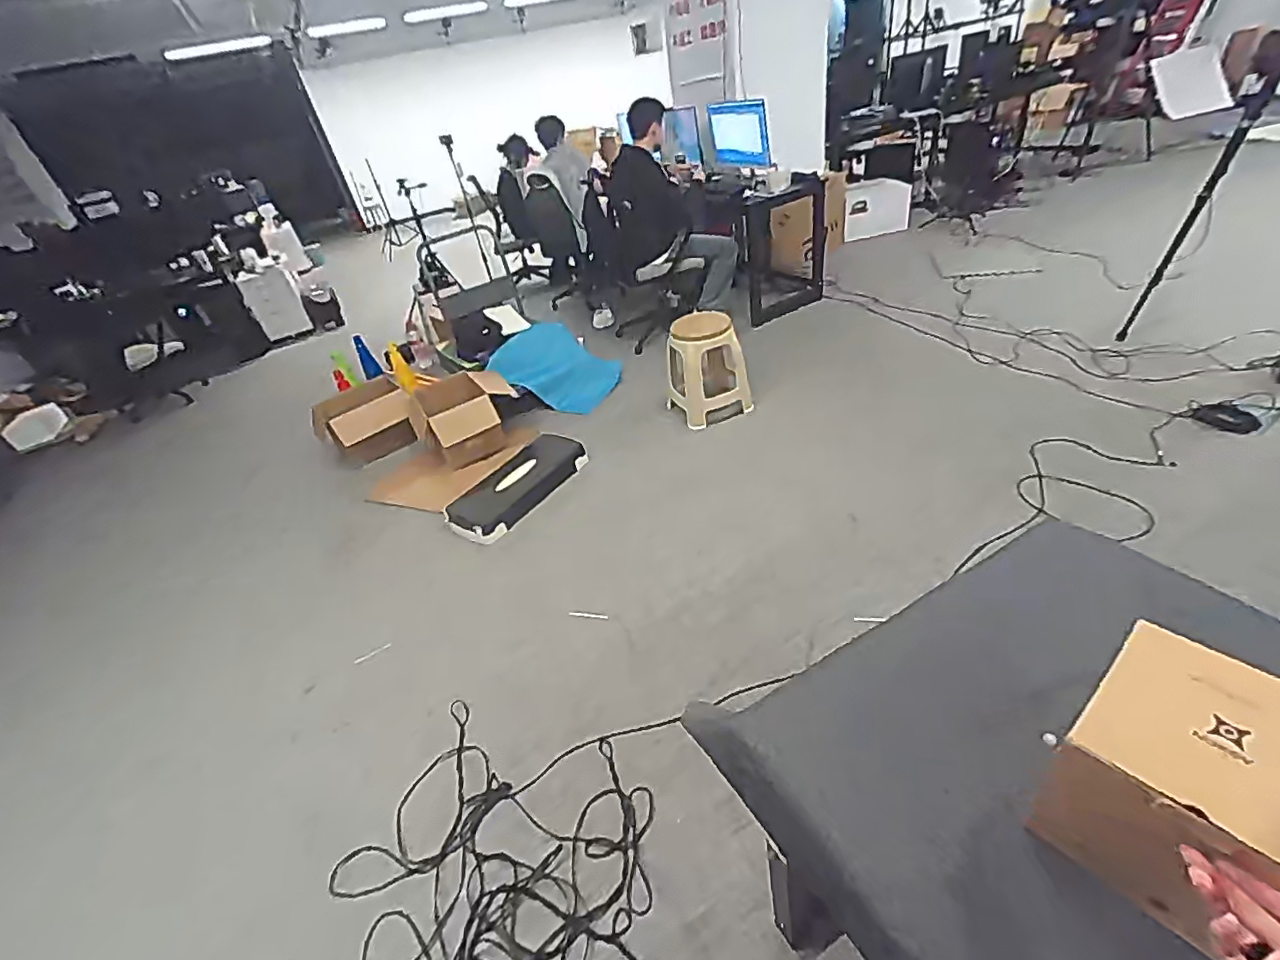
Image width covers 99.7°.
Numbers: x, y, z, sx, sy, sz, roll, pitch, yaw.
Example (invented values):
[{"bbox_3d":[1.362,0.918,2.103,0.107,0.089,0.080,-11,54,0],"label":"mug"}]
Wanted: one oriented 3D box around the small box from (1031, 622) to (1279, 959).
[{"bbox_3d":[0.489,0.274,0.487,0.179,0.176,0.168,-31,41,-27],"label":"small box"}]
